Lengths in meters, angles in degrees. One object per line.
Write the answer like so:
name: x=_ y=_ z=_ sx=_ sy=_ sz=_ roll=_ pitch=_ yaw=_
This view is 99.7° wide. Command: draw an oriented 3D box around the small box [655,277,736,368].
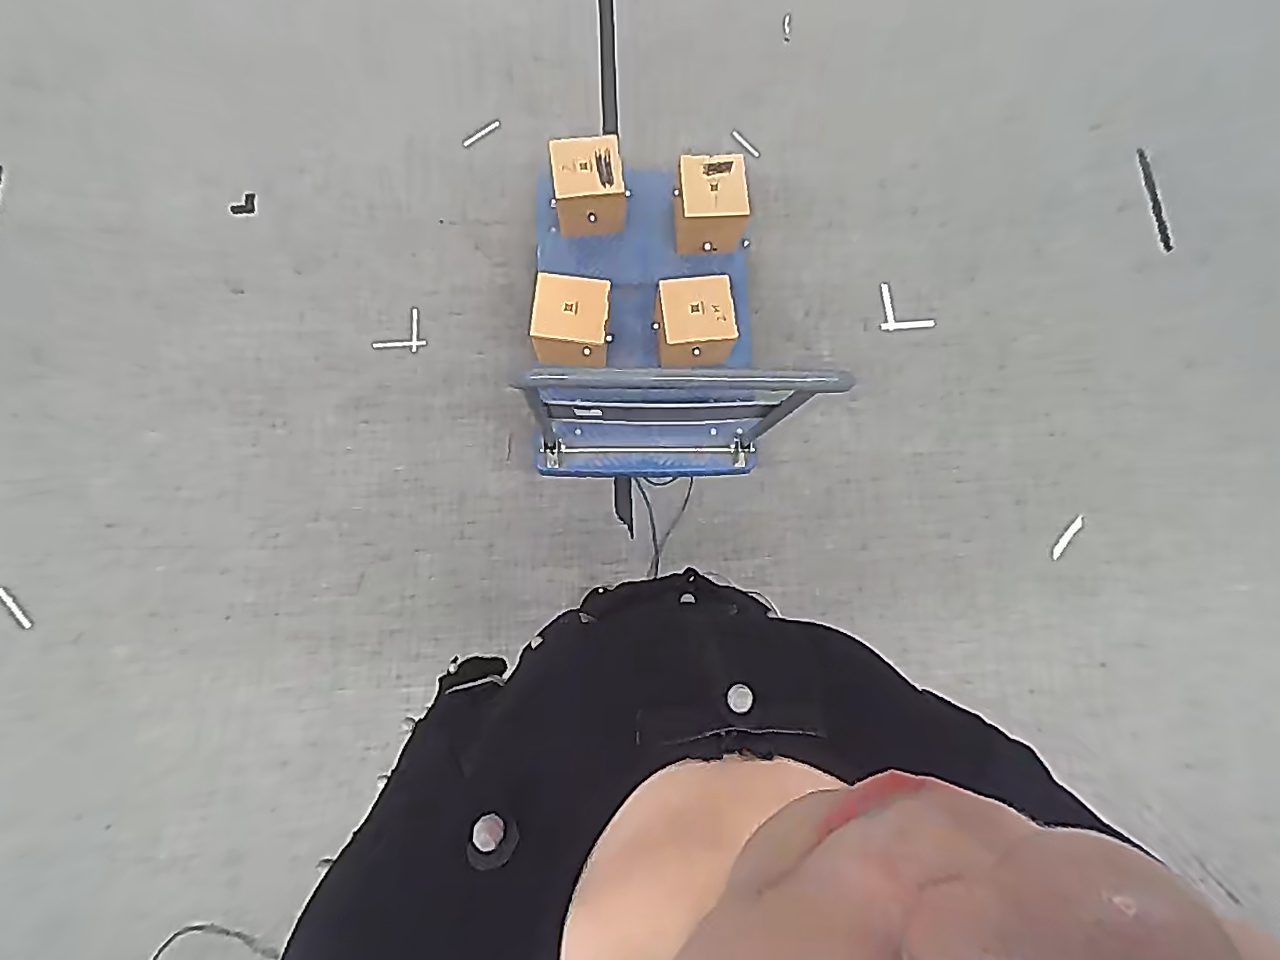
small box: x=0.134 y=-0.396 z=1.383 sx=0.179 sy=0.176 sz=0.168 roll=-6 pitch=80 yaw=-4

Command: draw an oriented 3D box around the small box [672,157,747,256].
small box: x=0.180 y=-0.727 z=1.445 sx=0.168 sy=0.176 sz=0.179 roll=-4 pitch=81 yaw=-3

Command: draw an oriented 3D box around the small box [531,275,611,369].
small box: x=-0.170 y=-0.392 z=1.366 sx=0.179 sy=0.176 sz=0.168 roll=6 pitch=79 yaw=-4
